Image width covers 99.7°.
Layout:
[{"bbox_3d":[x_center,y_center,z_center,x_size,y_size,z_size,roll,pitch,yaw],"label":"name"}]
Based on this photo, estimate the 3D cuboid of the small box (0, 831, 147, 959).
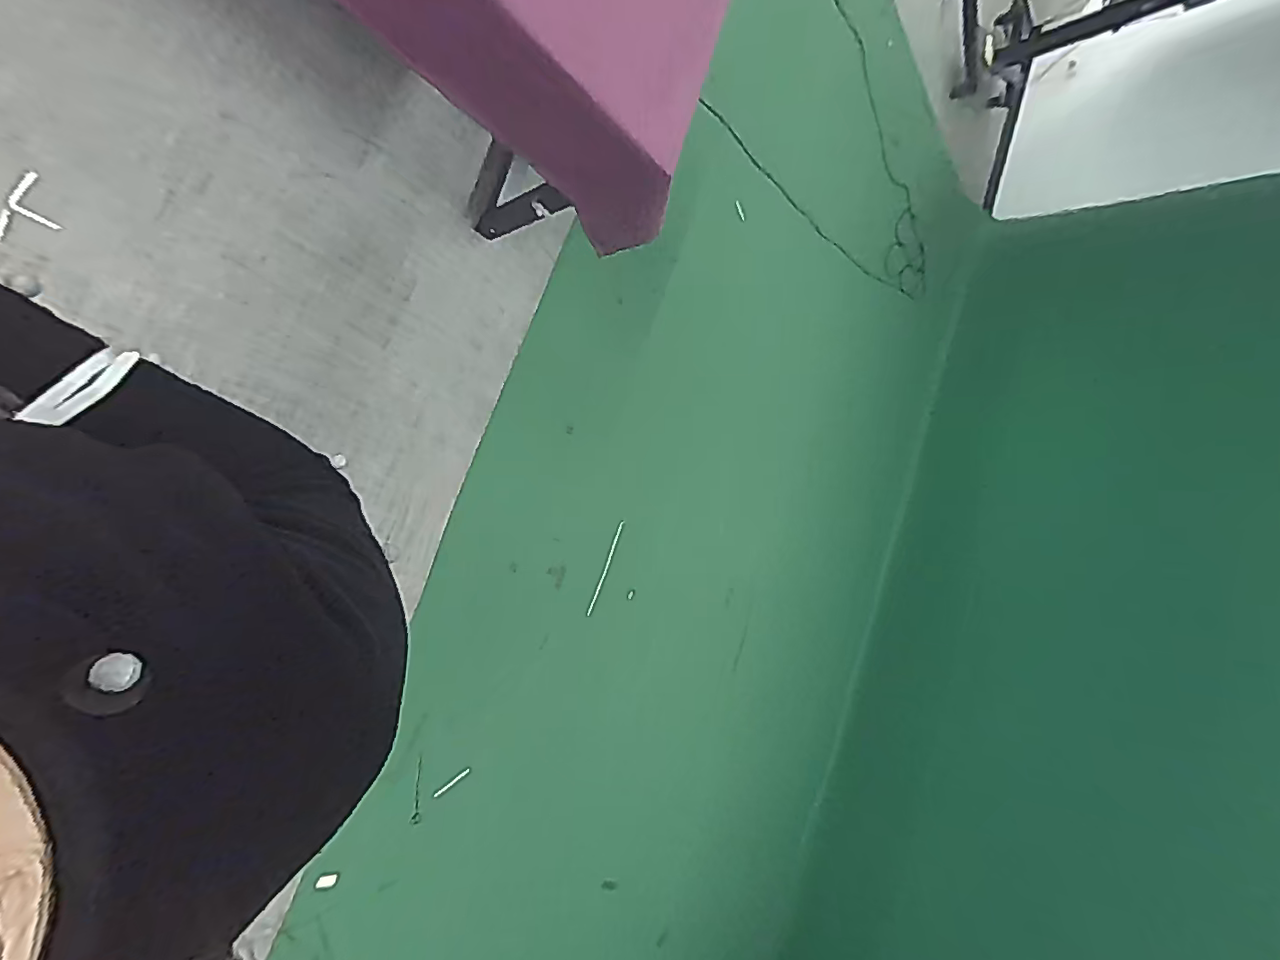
[{"bbox_3d":[-1.135,0.839,1.086,0.168,0.176,0.179,25,81,-42],"label":"small box"}]
